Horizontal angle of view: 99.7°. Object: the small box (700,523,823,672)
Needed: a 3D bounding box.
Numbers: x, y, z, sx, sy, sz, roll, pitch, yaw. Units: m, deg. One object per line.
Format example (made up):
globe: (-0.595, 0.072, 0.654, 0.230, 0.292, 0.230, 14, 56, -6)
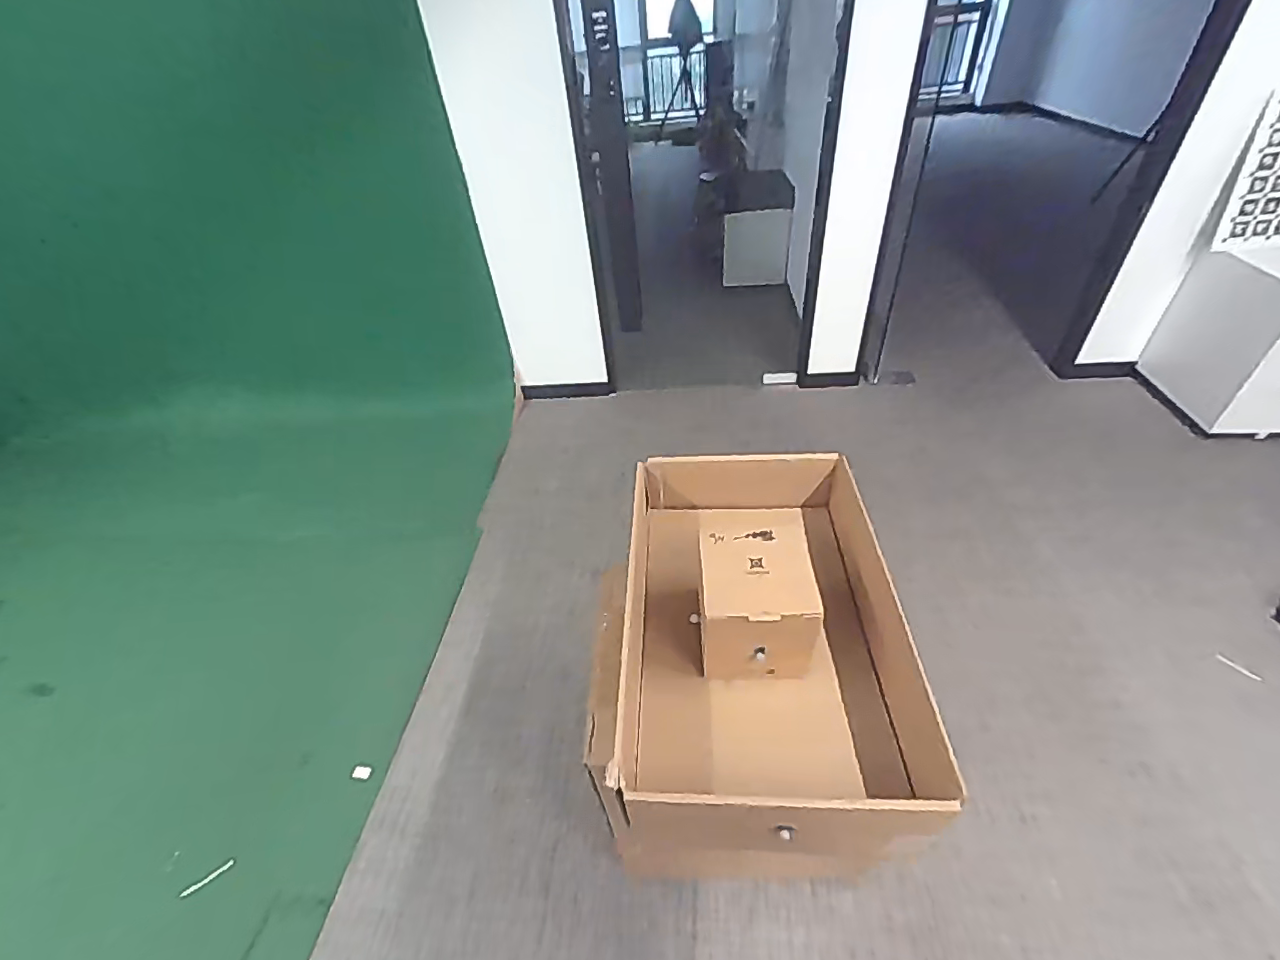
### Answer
small box: (0.183, 0.190, 0.862, 0.168, 0.176, 0.179, -1, 42, 5)
